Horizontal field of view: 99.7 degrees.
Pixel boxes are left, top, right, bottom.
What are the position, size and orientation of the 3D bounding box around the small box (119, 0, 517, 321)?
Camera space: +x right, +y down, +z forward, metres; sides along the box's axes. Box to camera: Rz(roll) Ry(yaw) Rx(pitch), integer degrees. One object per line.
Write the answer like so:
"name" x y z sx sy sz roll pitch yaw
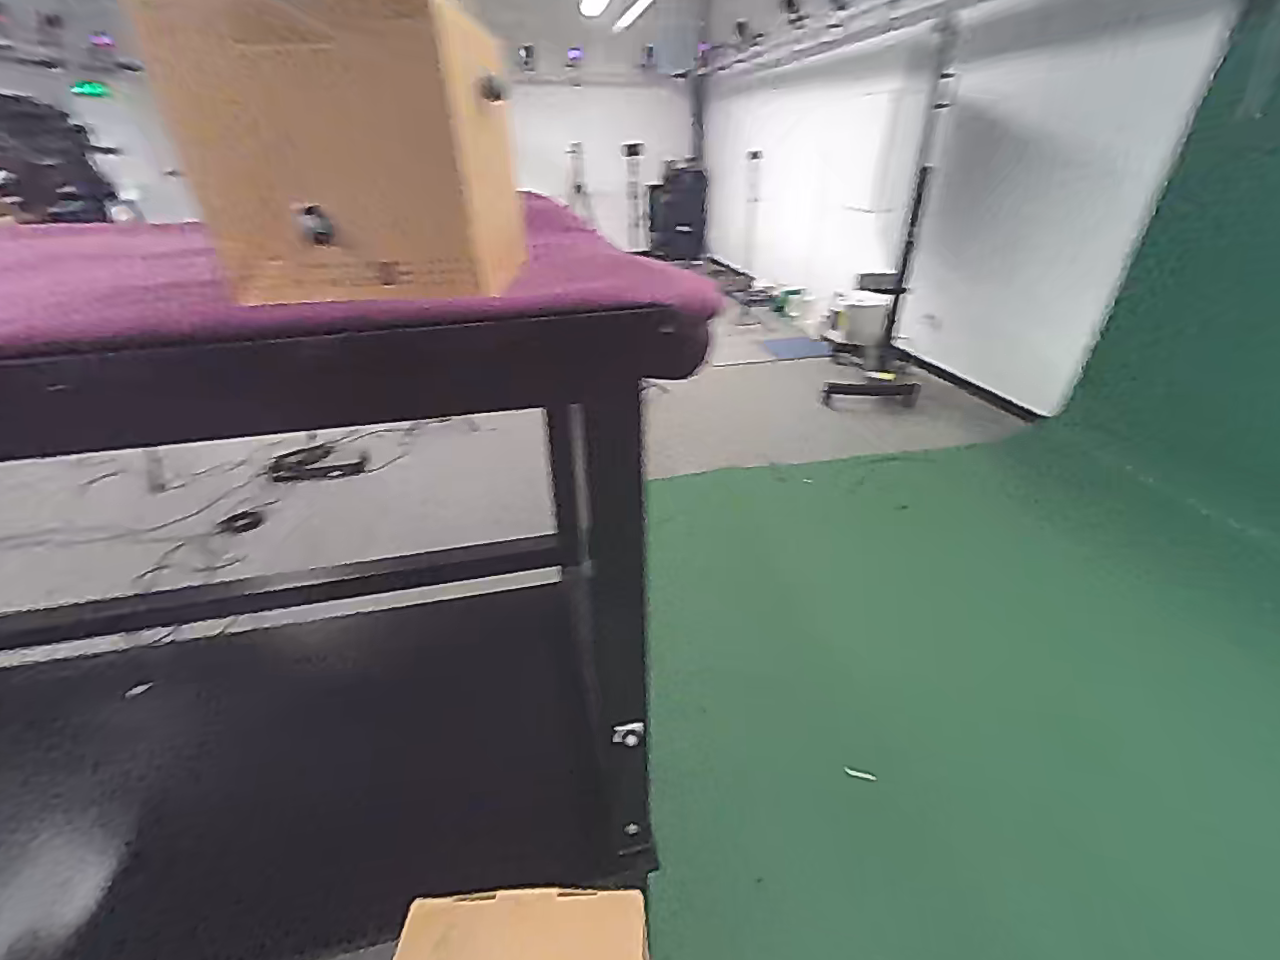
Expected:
"small box" -0.187 -0.221 0.386 0.168 0.176 0.179 -2 33 -2
